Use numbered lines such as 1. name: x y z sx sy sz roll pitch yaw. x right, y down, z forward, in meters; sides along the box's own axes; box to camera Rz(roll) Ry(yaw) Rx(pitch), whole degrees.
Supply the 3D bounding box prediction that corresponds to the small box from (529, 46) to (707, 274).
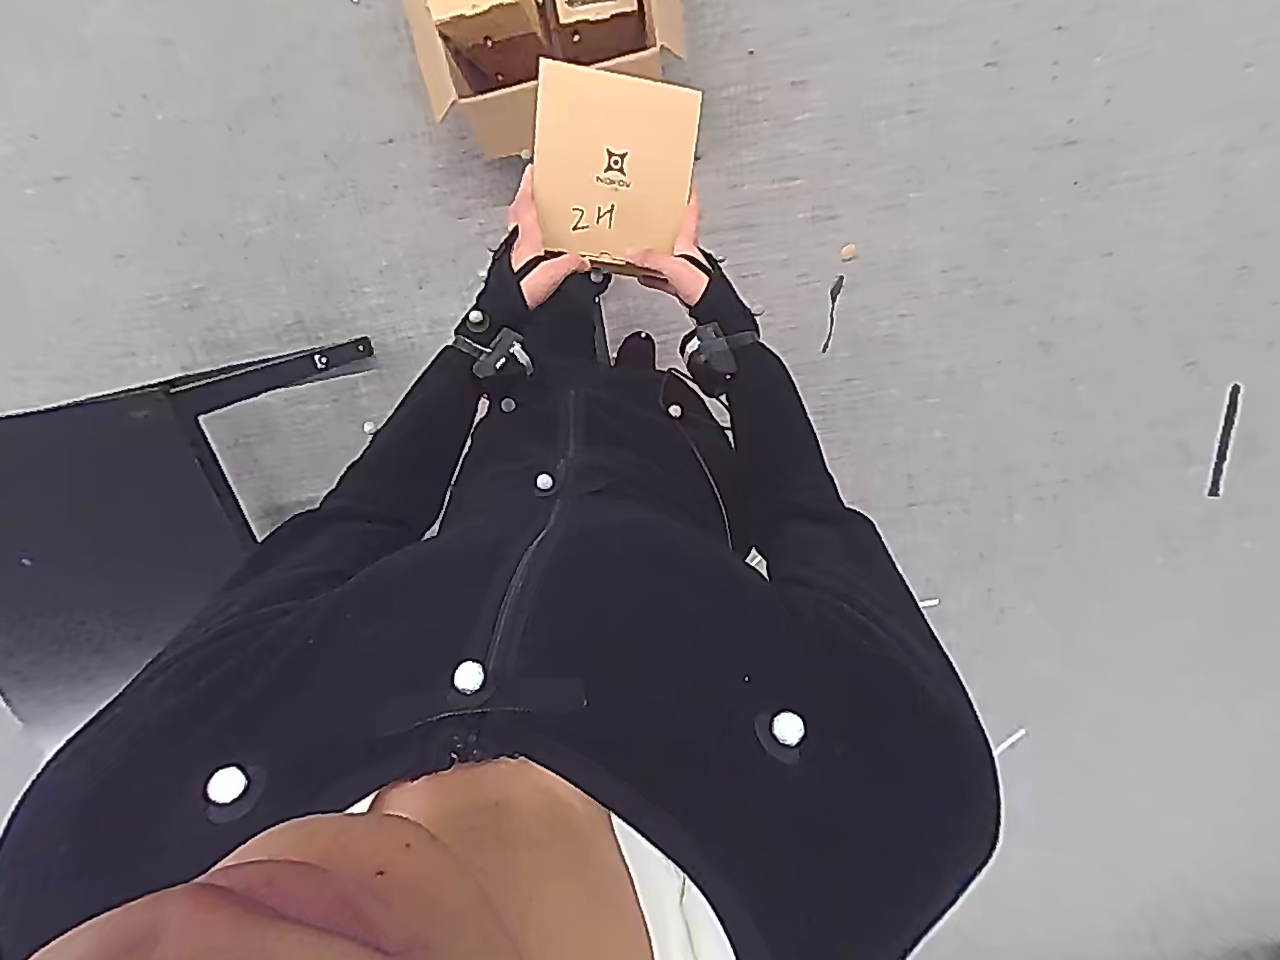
1. small box: -0.035 -0.346 0.624 0.168 0.176 0.179 5 107 -10
